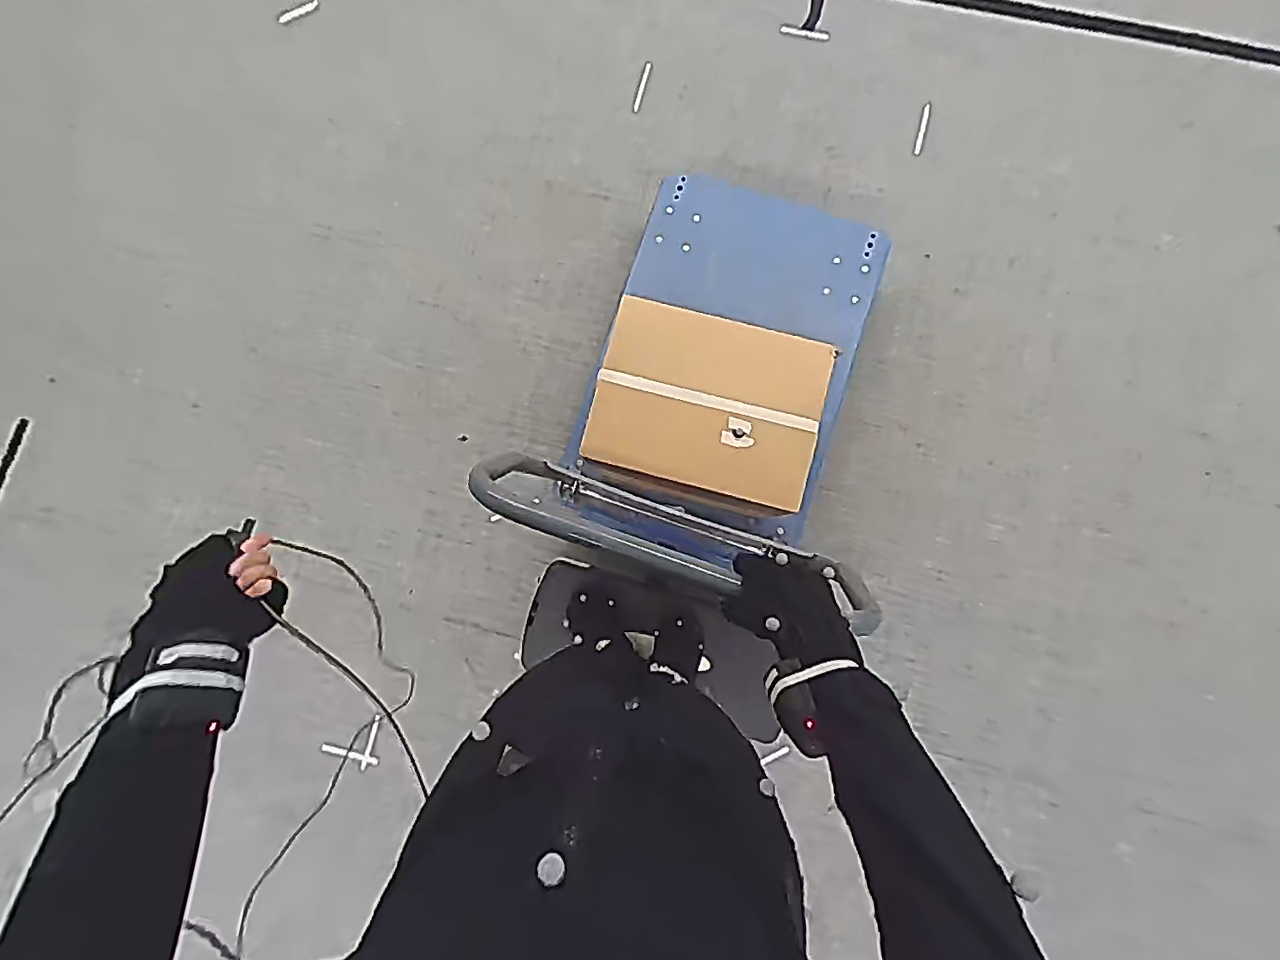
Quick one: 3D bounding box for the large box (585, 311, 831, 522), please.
[{"bbox_3d":[0.127,-0.111,1.141,0.408,0.320,0.320,15,85,3],"label":"large box"}]
